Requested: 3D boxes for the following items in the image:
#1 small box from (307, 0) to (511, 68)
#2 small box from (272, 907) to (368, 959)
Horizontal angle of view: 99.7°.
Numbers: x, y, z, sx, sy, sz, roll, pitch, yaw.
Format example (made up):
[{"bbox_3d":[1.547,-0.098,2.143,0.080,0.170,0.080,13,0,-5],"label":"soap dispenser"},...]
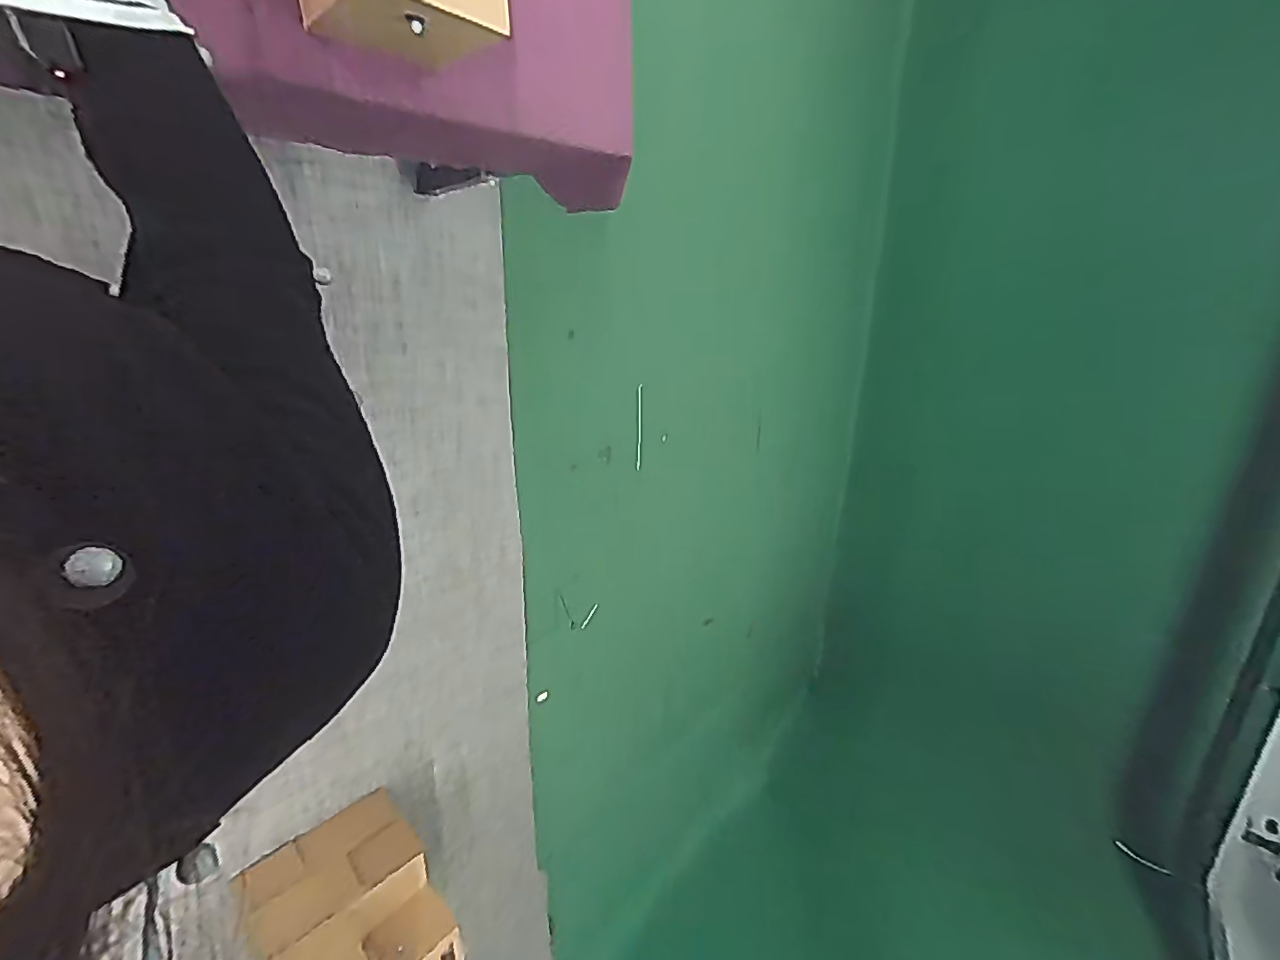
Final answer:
[{"bbox_3d":[-0.274,-0.608,0.618,0.179,0.176,0.168,-20,117,-45],"label":"small box"},{"bbox_3d":[-0.771,1.202,1.302,0.179,0.176,0.168,-16,116,-45],"label":"small box"}]
